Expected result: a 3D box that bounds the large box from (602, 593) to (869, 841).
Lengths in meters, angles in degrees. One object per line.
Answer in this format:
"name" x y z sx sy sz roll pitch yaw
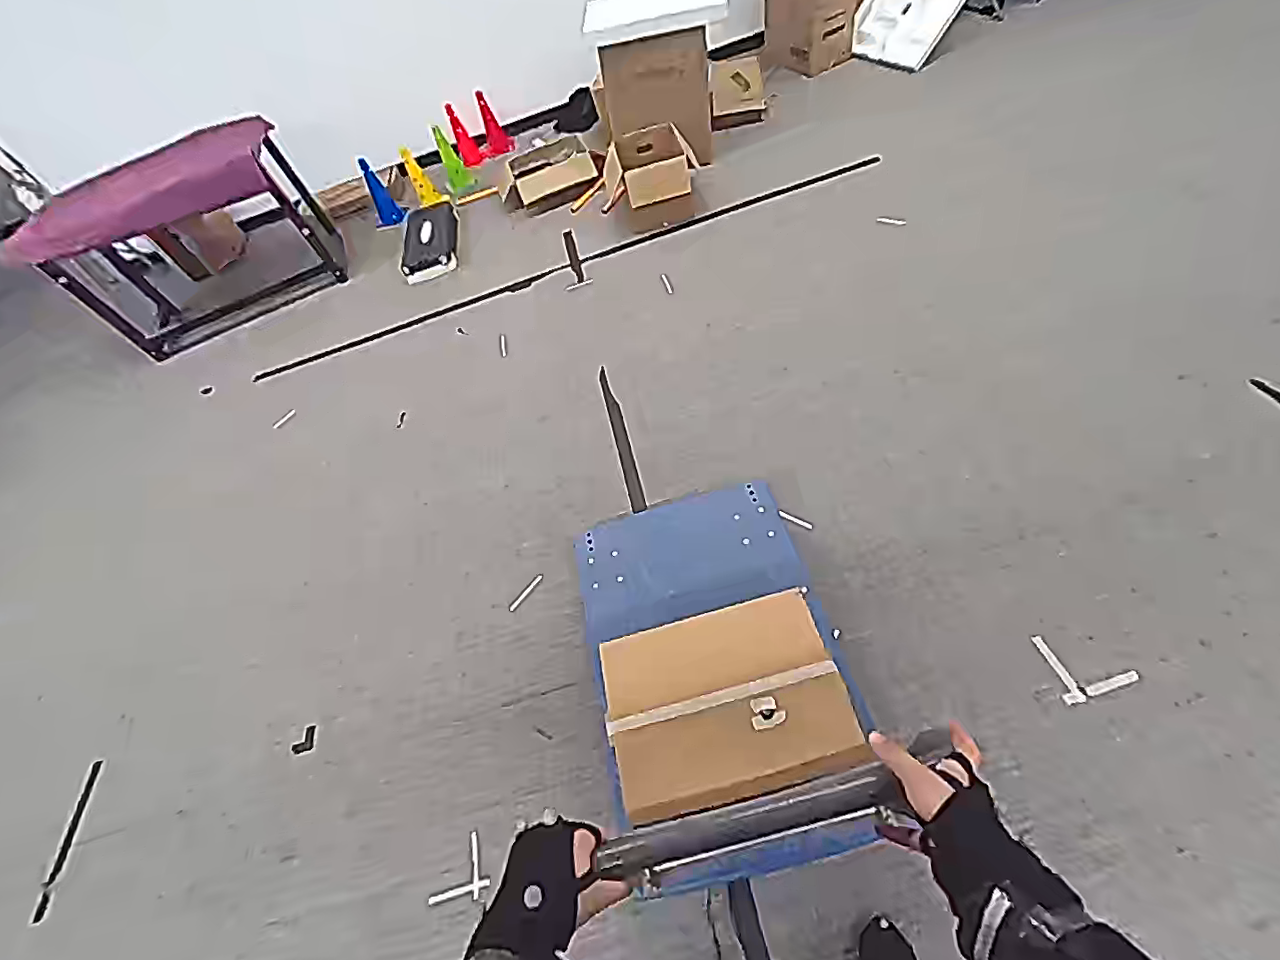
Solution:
"large box" 0.174 0.476 1.066 0.408 0.320 0.320 -16 53 2
